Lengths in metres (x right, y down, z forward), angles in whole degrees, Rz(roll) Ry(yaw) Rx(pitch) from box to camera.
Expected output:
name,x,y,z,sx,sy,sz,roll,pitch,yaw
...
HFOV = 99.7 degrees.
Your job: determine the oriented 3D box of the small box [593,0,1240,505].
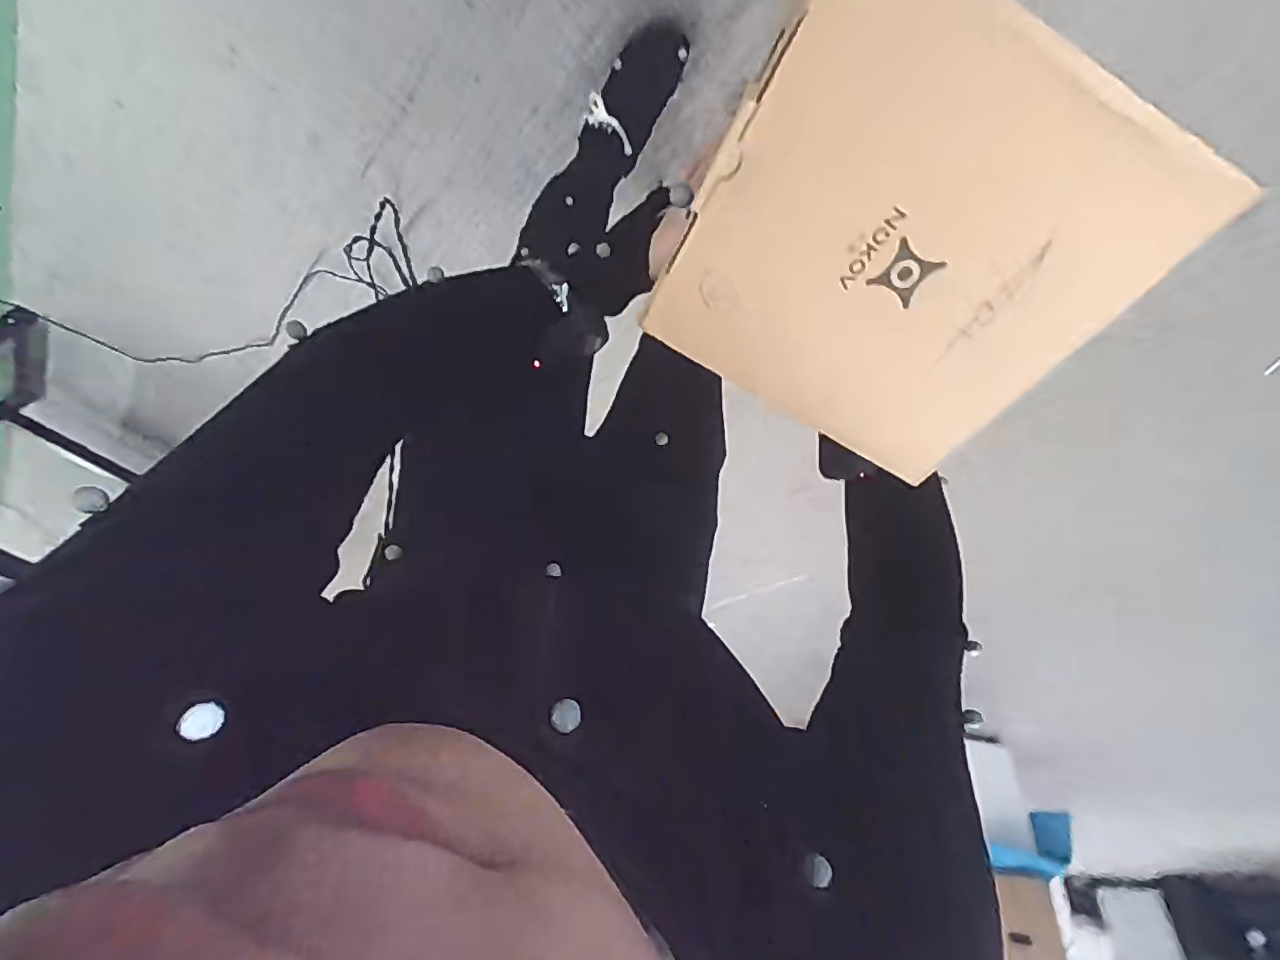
name,x,y,z,sx,sy,sz,roll,pitch,yaw
small box,0.104,-0.126,0.276,0.179,0.176,0.168,29,129,-10
